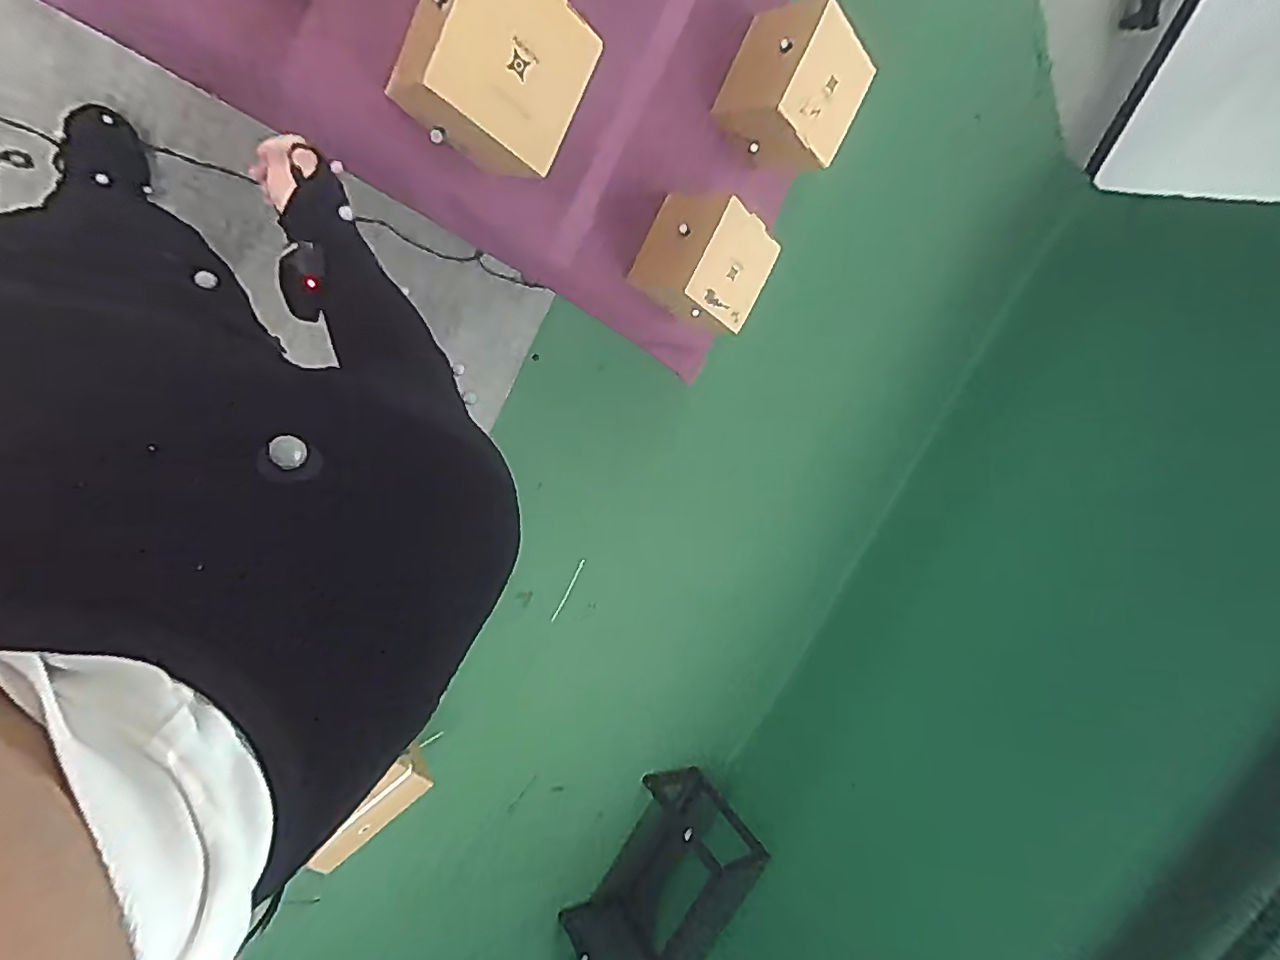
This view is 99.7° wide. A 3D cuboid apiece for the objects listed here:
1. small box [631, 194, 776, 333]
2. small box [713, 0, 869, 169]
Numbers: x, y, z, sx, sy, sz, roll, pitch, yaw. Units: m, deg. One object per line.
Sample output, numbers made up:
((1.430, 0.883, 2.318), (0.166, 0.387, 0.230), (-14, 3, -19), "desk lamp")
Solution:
((0.111, -0.400, 0.996), (0.168, 0.176, 0.179), (20, 99, -44), "small box")
((0.258, -0.680, 0.950), (0.168, 0.176, 0.179), (17, 104, -42), "small box")
